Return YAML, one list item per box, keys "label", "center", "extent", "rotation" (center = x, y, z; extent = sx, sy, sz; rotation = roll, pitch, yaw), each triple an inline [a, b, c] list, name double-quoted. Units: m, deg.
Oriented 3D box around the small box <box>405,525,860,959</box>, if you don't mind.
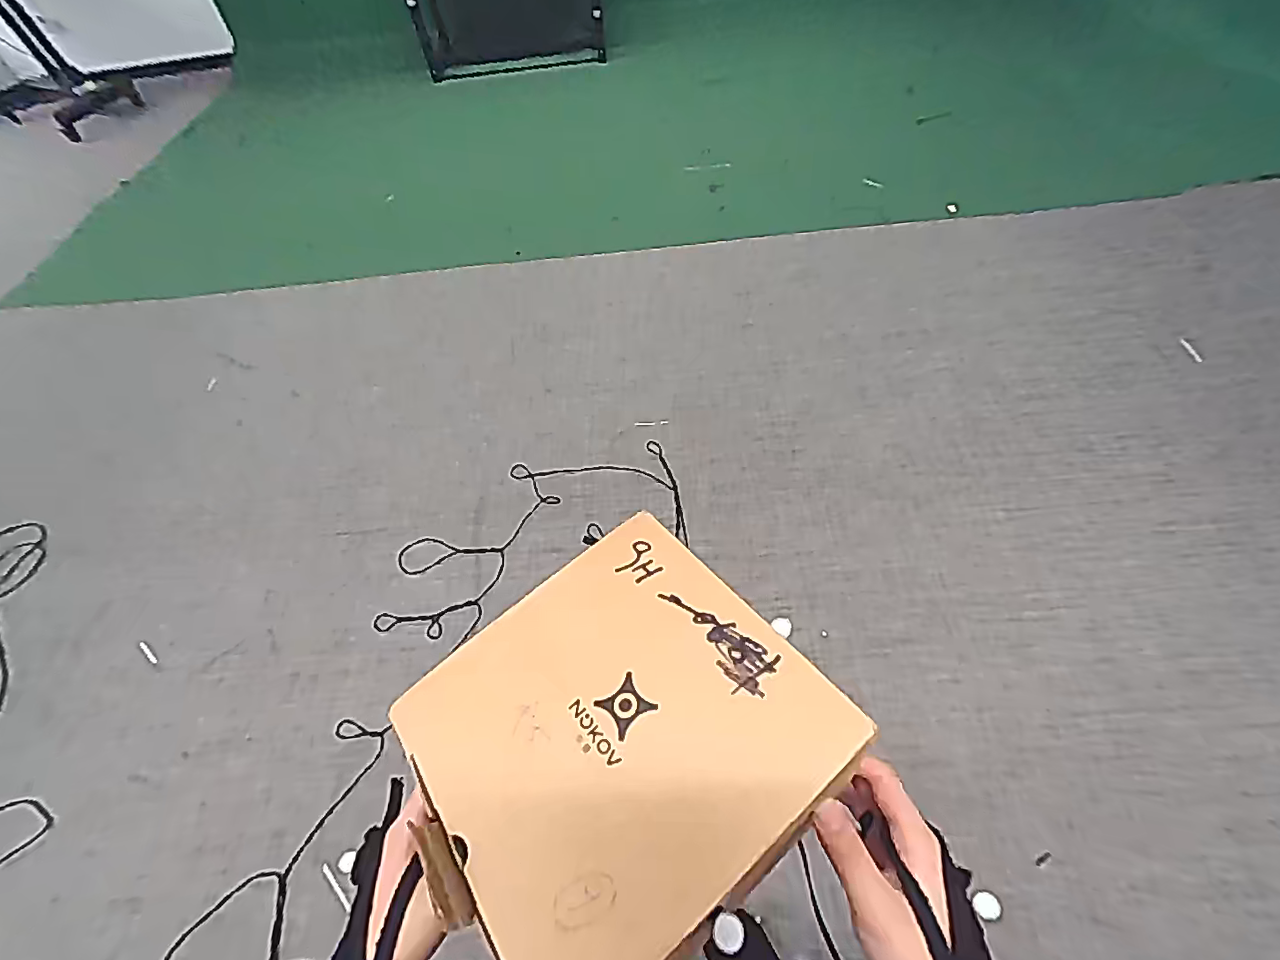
- label: "small box"
  center: [0.003, 0.169, 0.327]
  extent: [0.179, 0.176, 0.168]
  rotation: [-37, 54, -16]
